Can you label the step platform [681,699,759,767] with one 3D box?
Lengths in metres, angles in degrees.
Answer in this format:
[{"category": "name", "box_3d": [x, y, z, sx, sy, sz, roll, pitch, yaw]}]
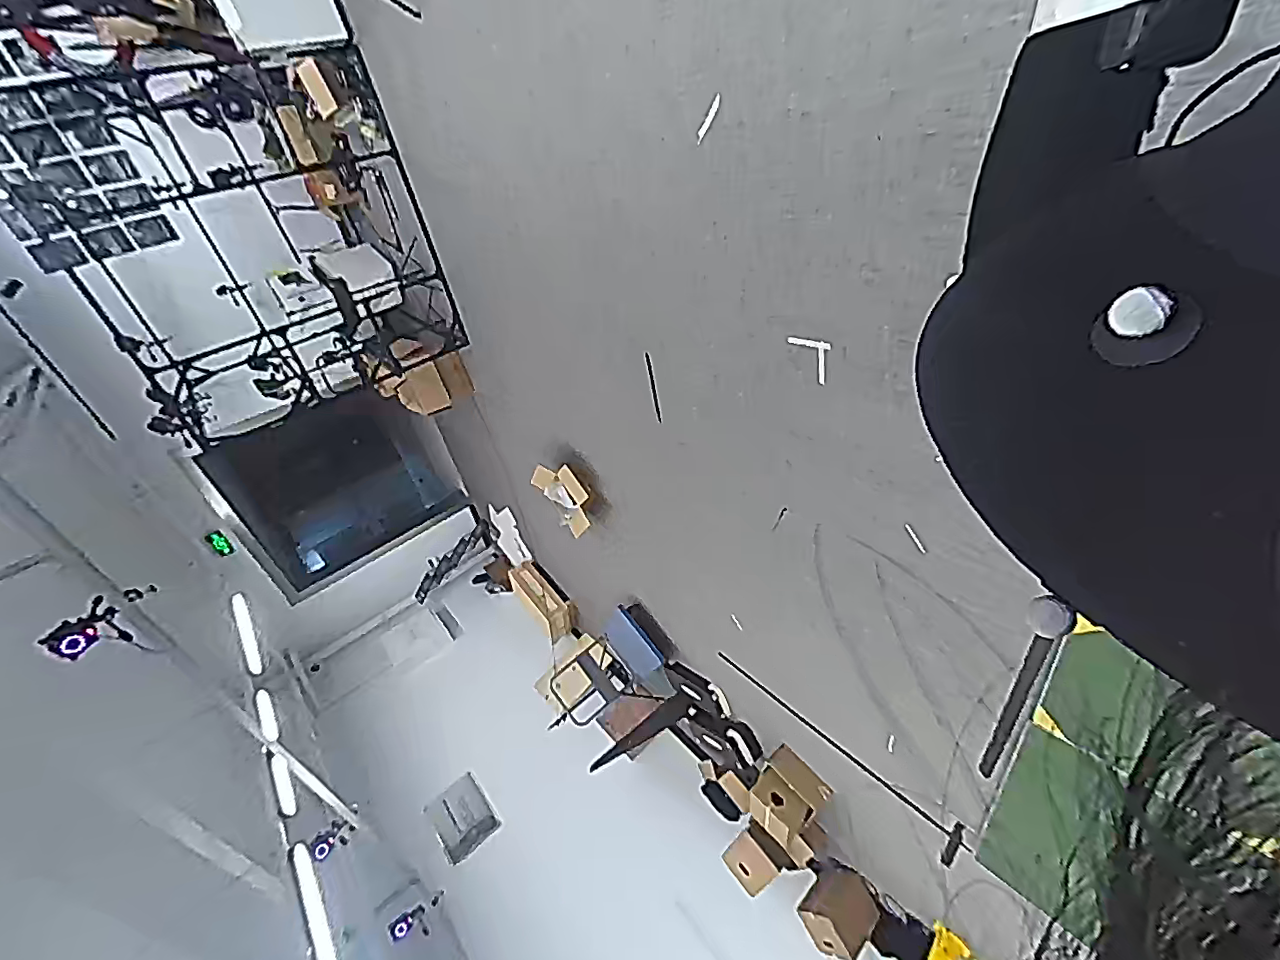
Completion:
[{"category": "step platform", "box_3d": [0.610, 1.982, 4.251, 0.684, 0.204, 0.286, -10, 110, 60]}]
